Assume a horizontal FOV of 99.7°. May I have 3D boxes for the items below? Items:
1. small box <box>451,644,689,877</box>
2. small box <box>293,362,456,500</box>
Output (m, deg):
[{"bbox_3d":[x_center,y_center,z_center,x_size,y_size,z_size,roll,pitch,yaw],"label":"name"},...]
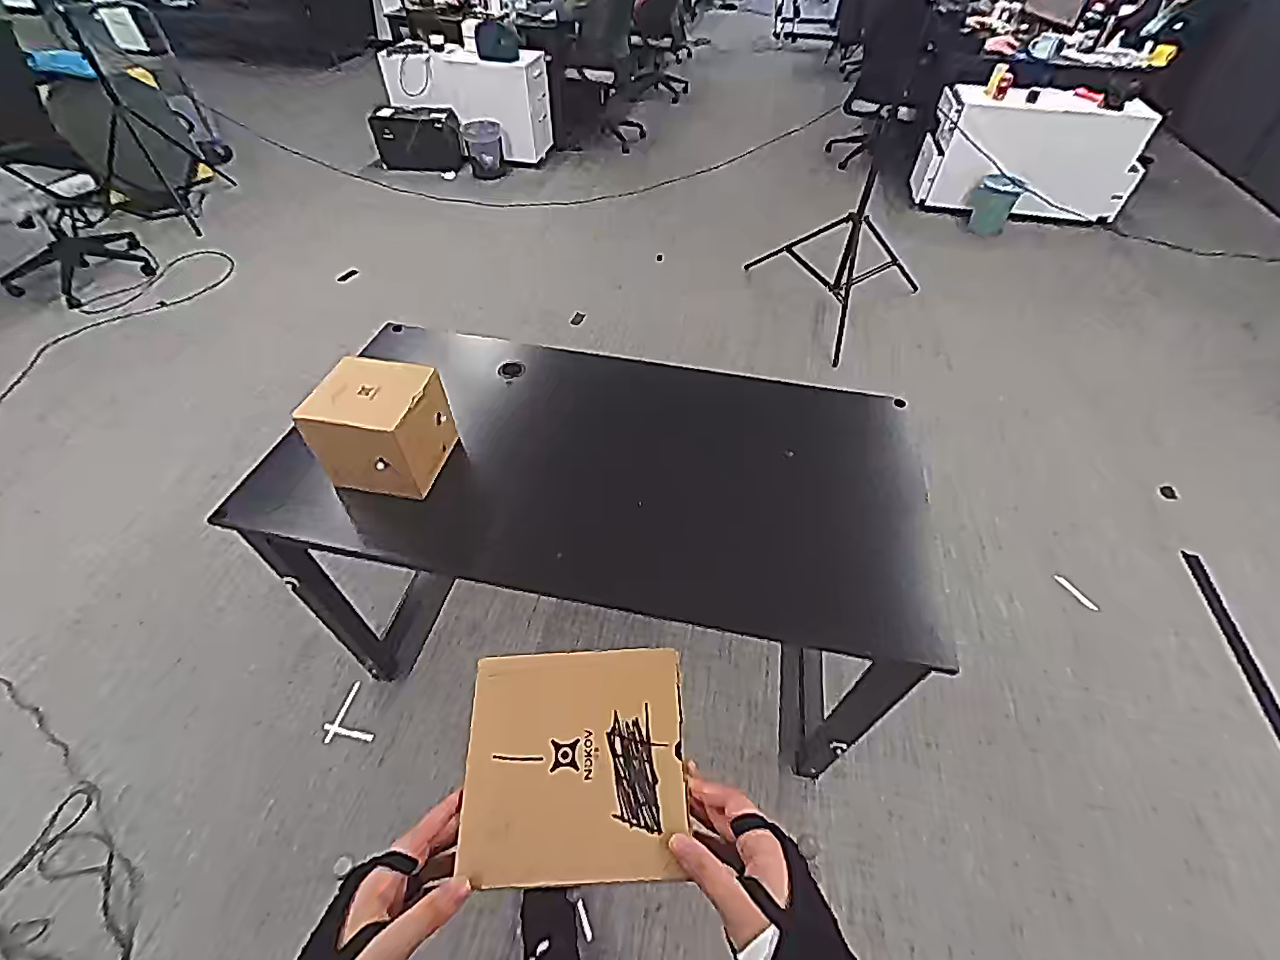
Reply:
[{"bbox_3d":[-0.052,0.260,0.502,0.179,0.176,0.168,-3,56,1],"label":"small box"},{"bbox_3d":[-0.448,-0.083,0.950,0.179,0.176,0.168,7,48,6],"label":"small box"}]
